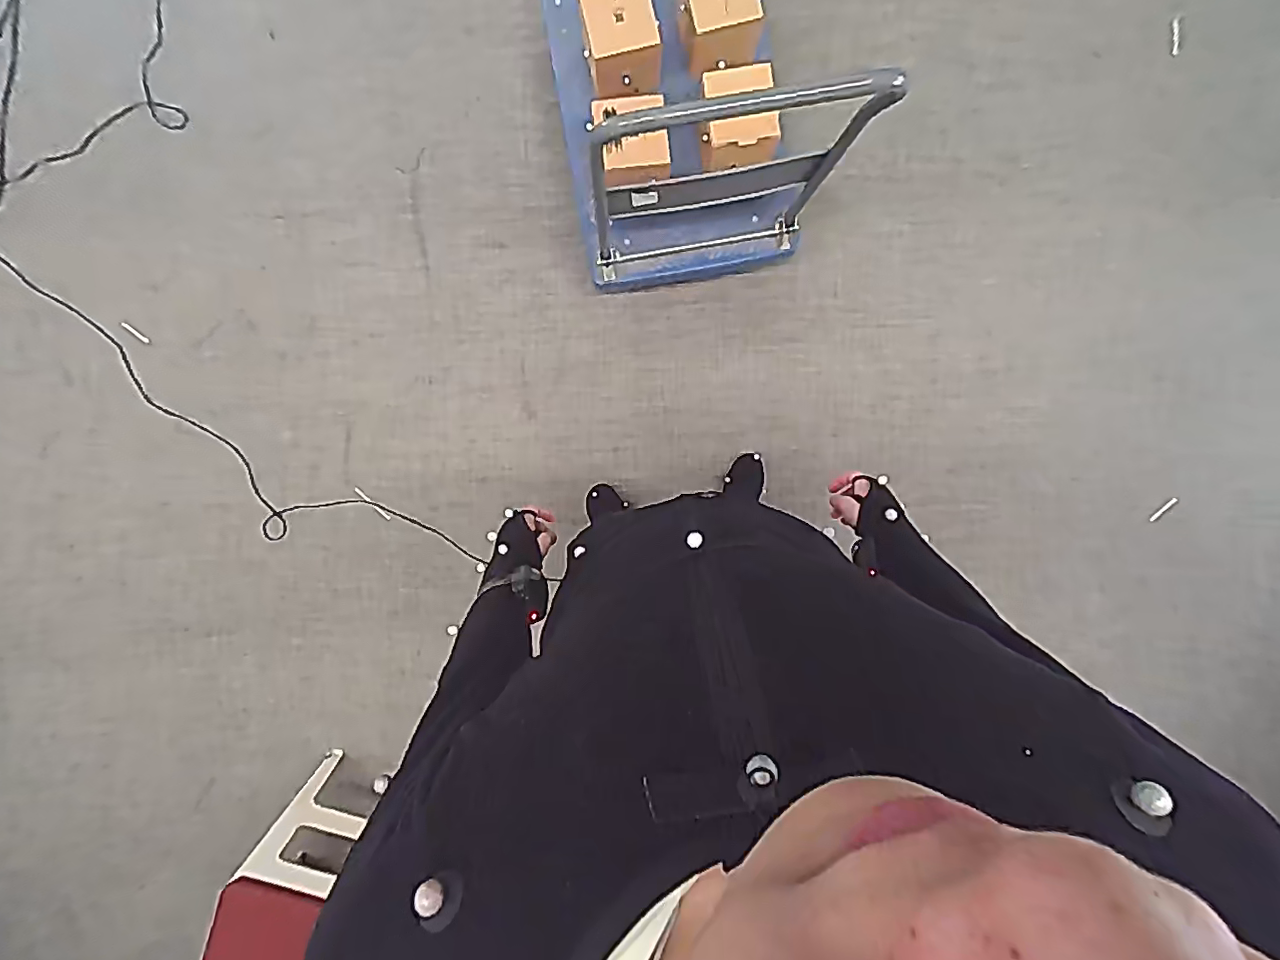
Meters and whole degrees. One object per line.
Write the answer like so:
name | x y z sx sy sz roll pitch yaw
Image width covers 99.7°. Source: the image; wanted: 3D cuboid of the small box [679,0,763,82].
small box | 0.199 -1.167 1.370 0.168 0.176 0.179 -13 92 2

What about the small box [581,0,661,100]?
small box | -0.045 -1.106 1.373 0.168 0.176 0.179 -14 91 0

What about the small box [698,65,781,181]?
small box | 0.247 -0.901 1.378 0.168 0.176 0.179 -9 92 0
